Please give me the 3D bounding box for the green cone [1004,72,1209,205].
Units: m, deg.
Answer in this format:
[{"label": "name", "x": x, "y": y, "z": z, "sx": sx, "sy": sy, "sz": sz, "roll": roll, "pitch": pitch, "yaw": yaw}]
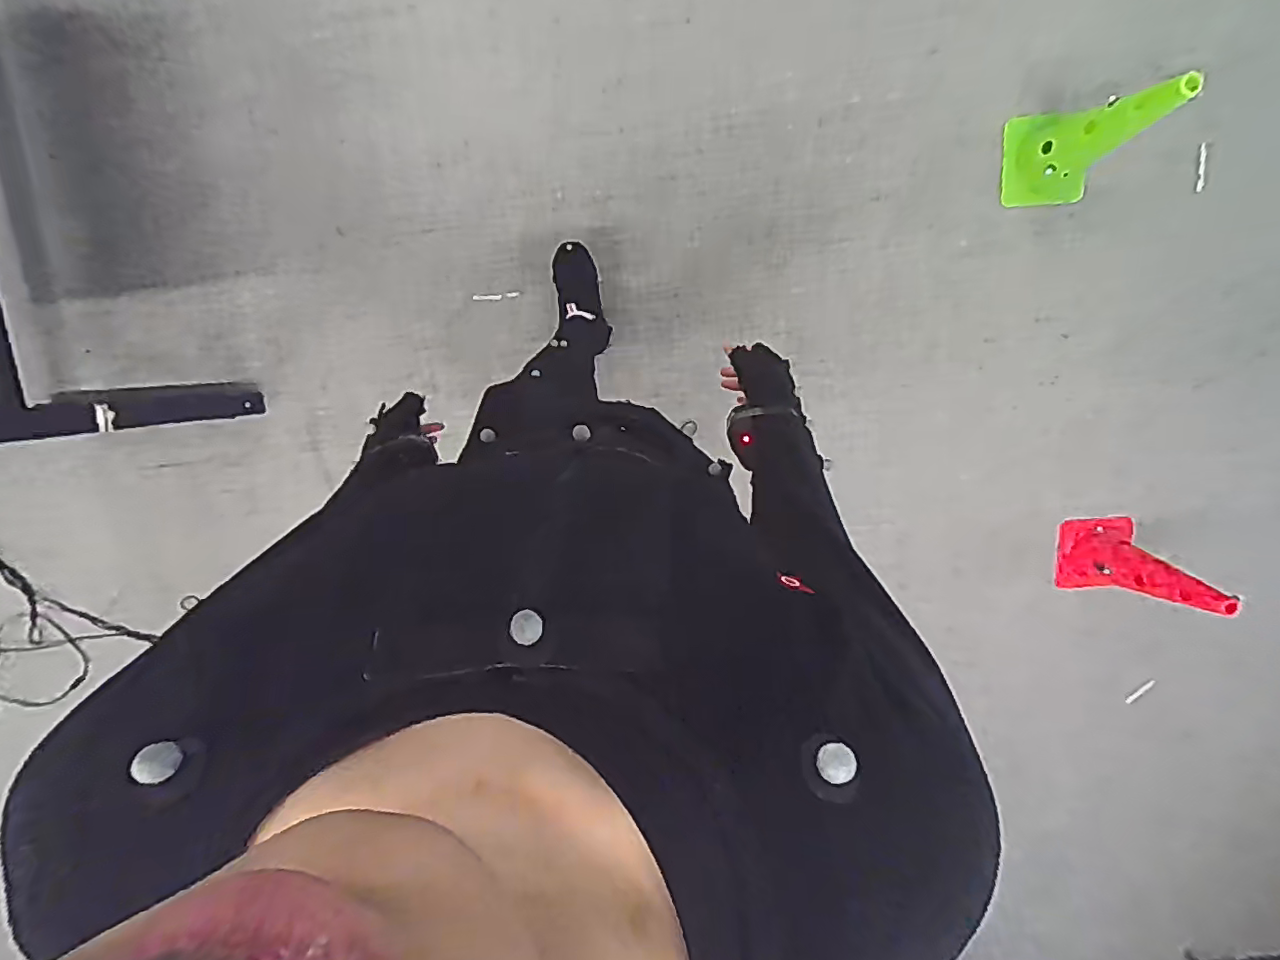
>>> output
[{"label": "green cone", "x": 0.971, "y": -0.735, "z": 1.121, "sx": 0.200, "sy": 0.368, "sz": 0.202, "roll": -6, "pitch": 102, "yaw": 1}]
